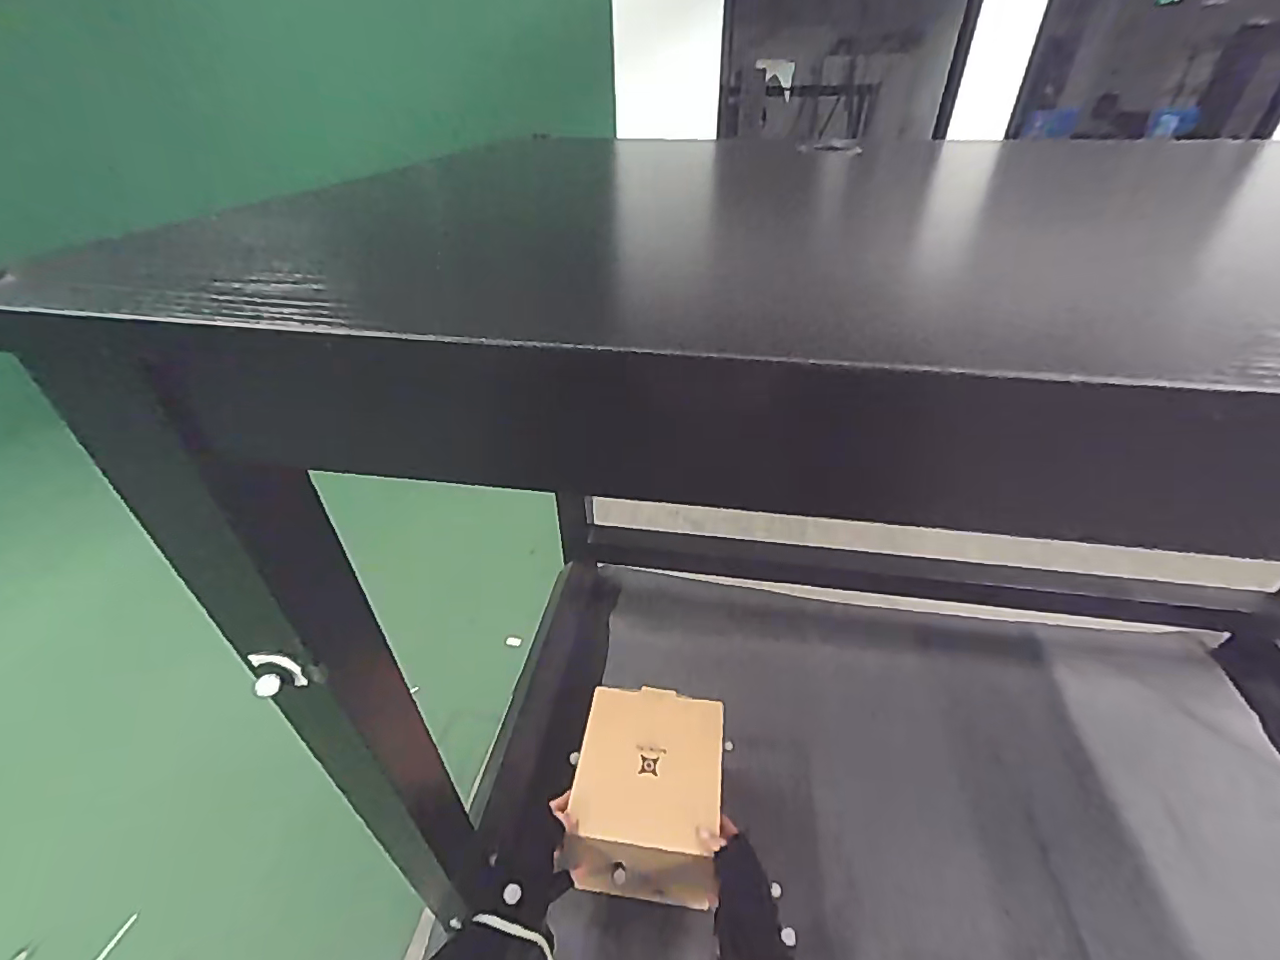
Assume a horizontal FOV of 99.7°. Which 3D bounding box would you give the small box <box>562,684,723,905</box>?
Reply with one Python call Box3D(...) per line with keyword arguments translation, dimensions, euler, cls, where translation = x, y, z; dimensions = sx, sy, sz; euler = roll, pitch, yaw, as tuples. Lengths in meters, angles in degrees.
Box3D(translation=(0.013, 0.384, 0.665), dimensions=(0.168, 0.176, 0.179), euler=(4, 36, 7), cls="small box")
